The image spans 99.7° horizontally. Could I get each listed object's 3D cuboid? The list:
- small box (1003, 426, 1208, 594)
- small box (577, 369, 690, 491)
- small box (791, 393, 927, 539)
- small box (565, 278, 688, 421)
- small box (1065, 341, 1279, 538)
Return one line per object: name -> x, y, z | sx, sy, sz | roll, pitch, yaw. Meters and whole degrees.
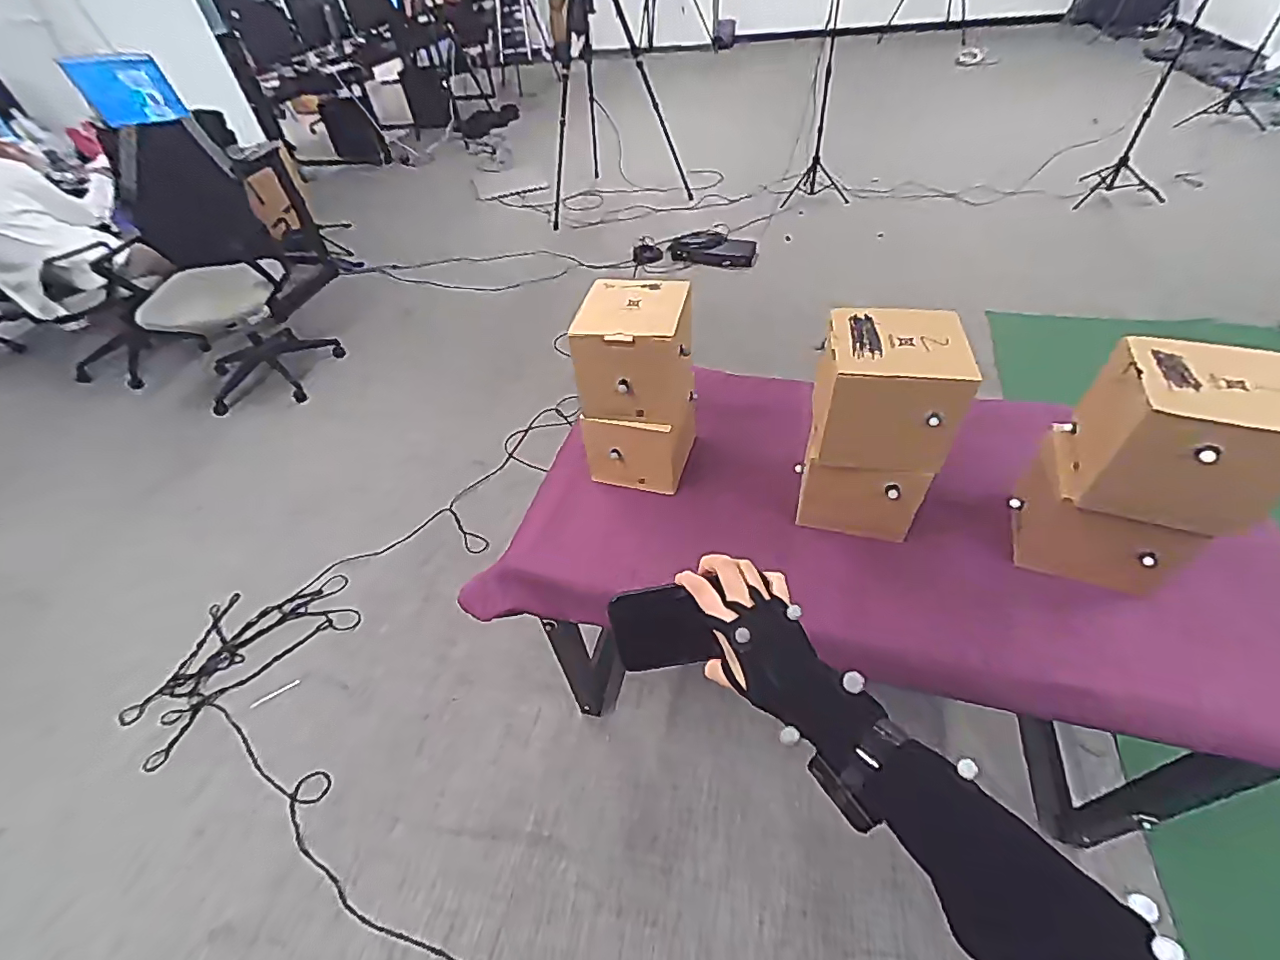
small box -> 0.683, 0.048, 0.816 | 0.179, 0.176, 0.168 | 15, 50, 19
small box -> -0.001, -0.102, 1.027 | 0.168, 0.176, 0.179 | 11, 49, 16
small box -> 0.364, -0.021, 0.912 | 0.179, 0.176, 0.168 | 10, 49, 15
small box -> -0.011, -0.219, 0.913 | 0.168, 0.176, 0.179 | 7, 49, 11
small box -> 0.674, -0.050, 0.685 | 0.179, 0.176, 0.168 | 15, 50, 18
